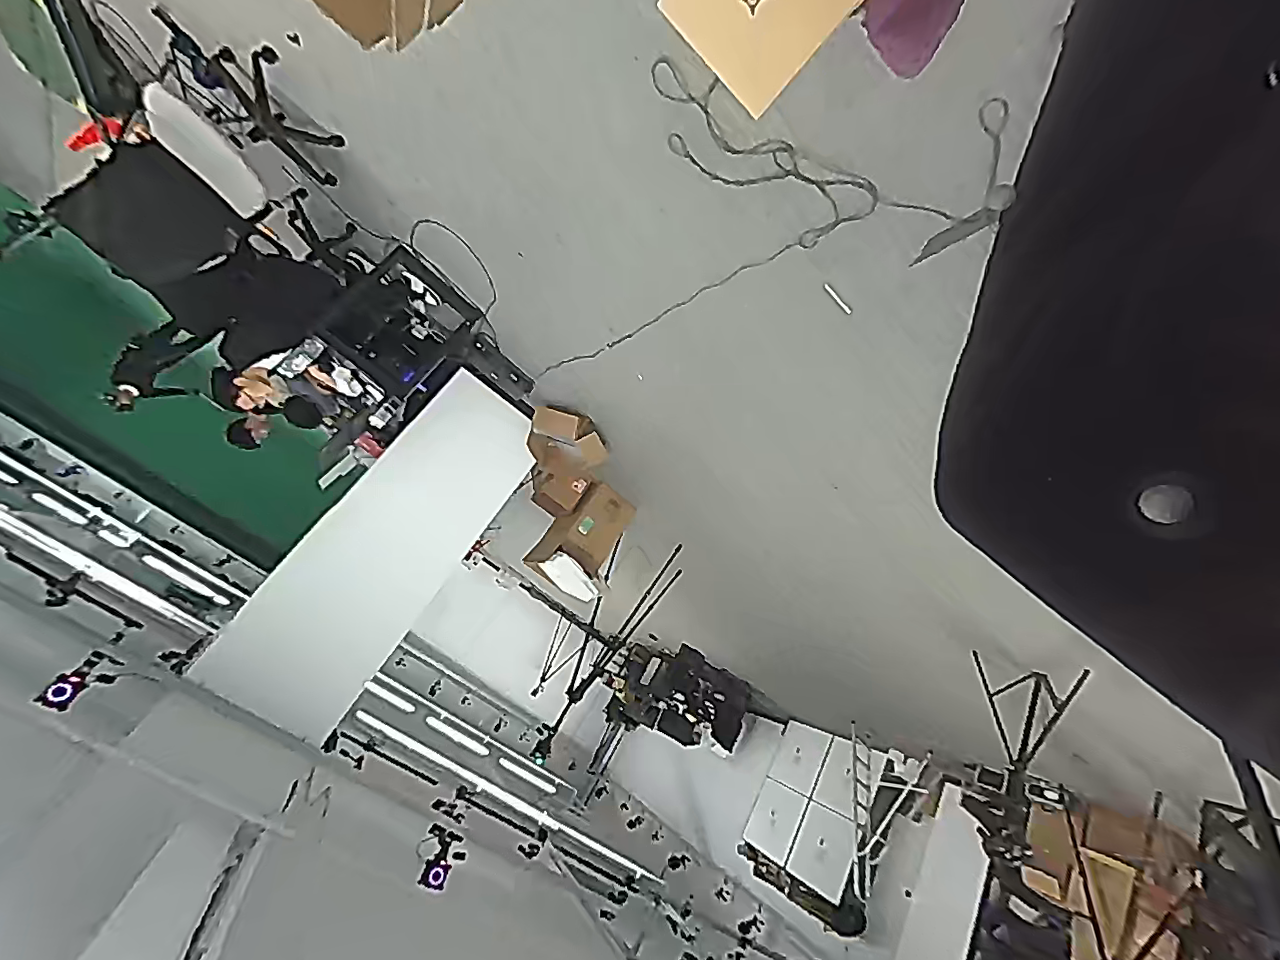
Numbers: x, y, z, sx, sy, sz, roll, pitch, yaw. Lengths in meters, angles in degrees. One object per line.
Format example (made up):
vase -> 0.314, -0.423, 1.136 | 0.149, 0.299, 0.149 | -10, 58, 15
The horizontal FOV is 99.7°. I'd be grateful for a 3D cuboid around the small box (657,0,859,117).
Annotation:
small box -> 0.155, -0.552, 0.575 | 0.168, 0.176, 0.179 | 39, 156, -15
